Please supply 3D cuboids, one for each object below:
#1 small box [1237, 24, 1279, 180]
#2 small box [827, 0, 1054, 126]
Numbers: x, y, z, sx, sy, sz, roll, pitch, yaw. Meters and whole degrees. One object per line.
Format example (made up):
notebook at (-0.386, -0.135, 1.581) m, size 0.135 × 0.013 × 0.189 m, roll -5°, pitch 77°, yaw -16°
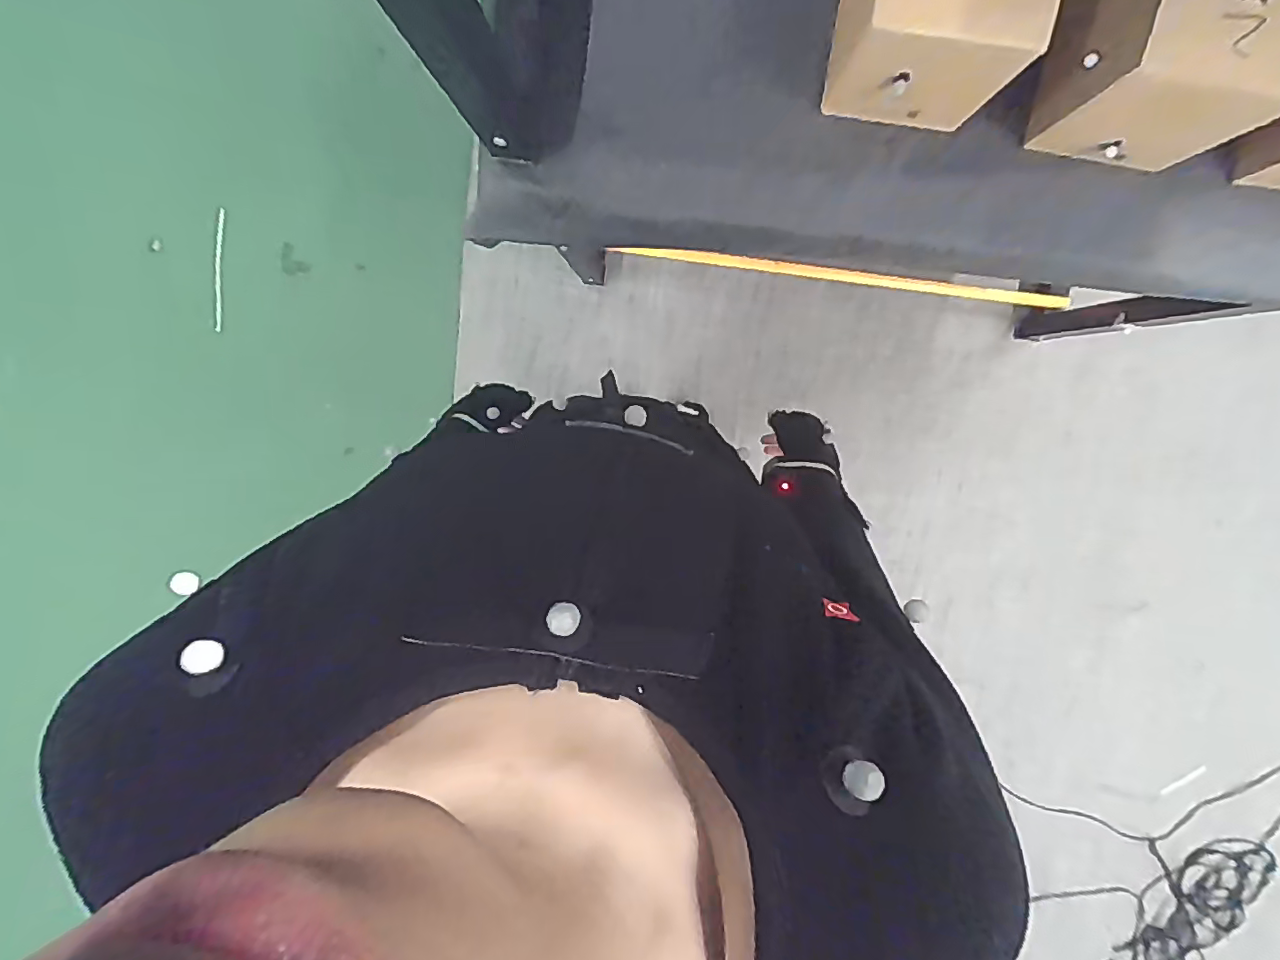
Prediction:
small box at (0.795, -0.421, 0.556) m, size 0.168 × 0.176 × 0.179 m, roll 7°, pitch 99°, yaw 1°
small box at (0.309, -0.507, 0.567) m, size 0.168 × 0.176 × 0.179 m, roll 8°, pitch 100°, yaw 1°
